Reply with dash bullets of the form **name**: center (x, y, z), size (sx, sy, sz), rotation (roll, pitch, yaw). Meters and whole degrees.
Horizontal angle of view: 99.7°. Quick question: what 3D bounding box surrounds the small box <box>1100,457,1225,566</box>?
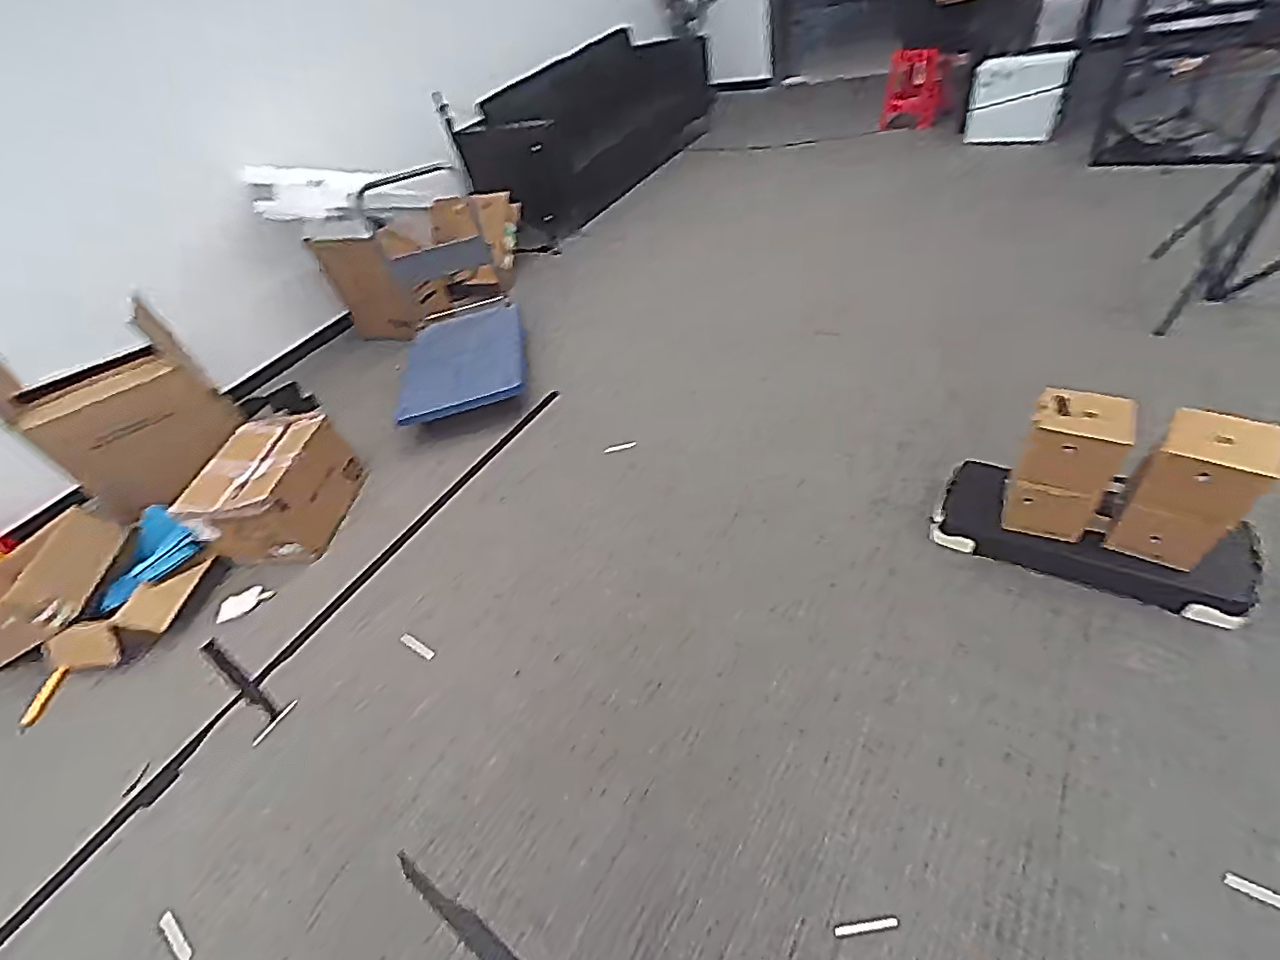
- **small box**: center (1.253, 0.078, 1.306), size (0.168, 0.176, 0.179), rotation (21, 56, 32)
